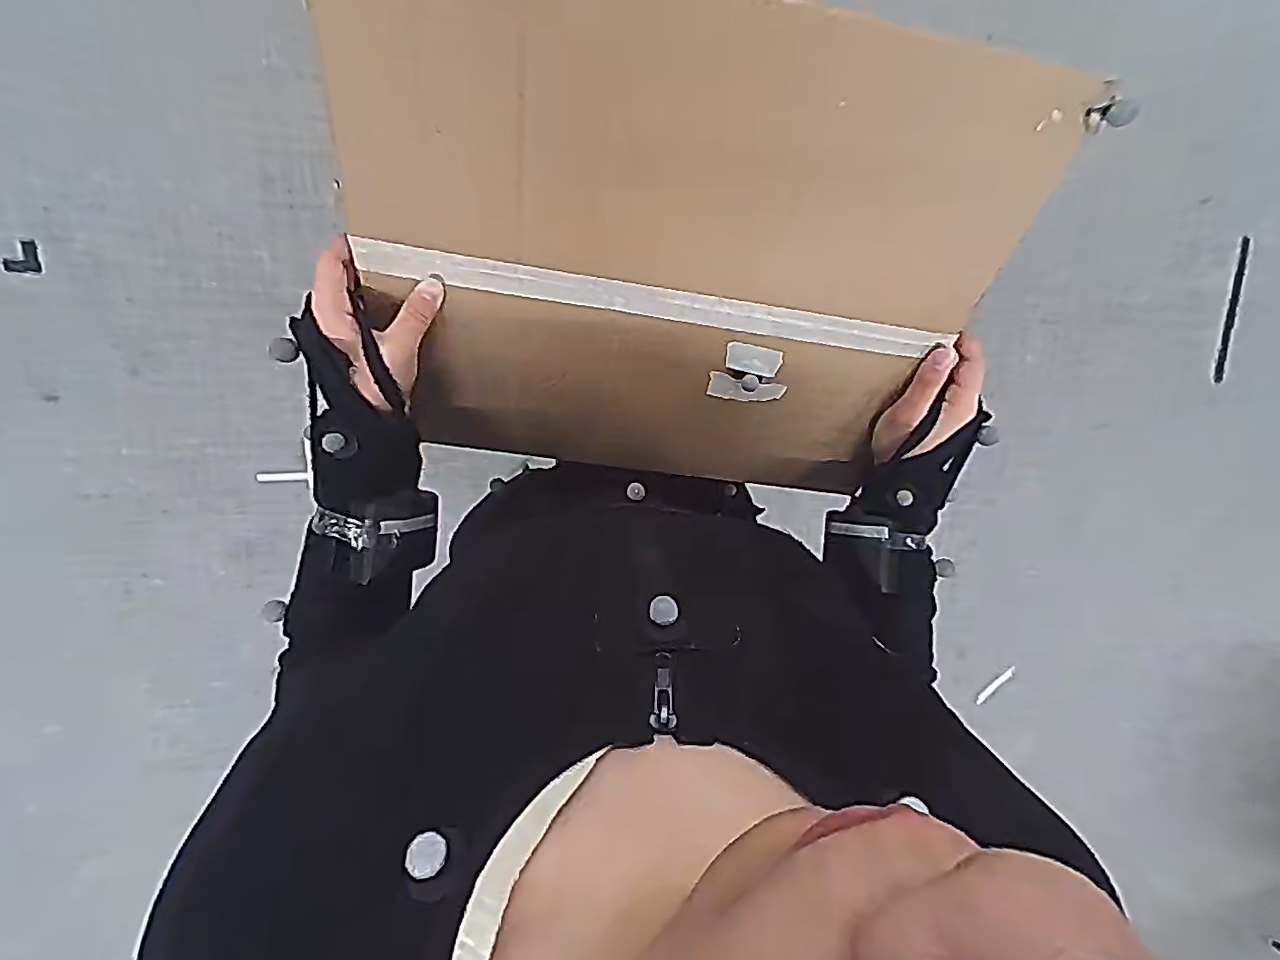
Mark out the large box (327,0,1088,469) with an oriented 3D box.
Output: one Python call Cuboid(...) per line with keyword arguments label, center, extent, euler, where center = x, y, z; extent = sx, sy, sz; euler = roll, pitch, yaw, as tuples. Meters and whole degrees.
Cuboid(label="large box", center=(0.019, -0.238, 0.475), extent=(0.408, 0.320, 0.320), euler=(6, 136, -8))
